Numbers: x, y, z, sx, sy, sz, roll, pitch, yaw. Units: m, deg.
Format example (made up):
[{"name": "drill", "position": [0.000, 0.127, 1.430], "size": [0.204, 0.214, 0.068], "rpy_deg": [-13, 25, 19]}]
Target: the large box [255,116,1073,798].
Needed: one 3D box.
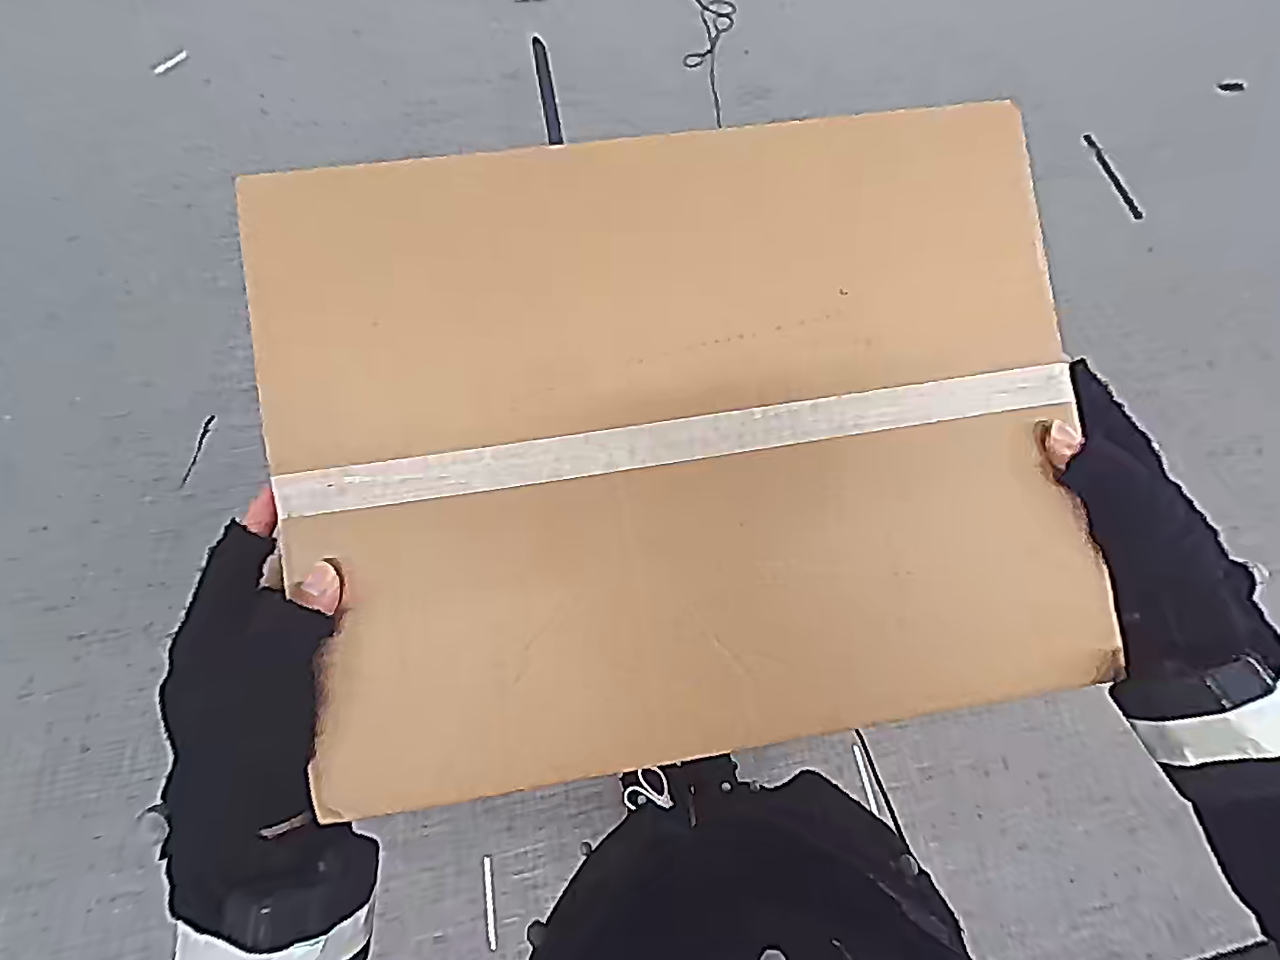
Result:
[{"name": "large box", "position": [0.012, -0.018, 0.434], "size": [0.408, 0.320, 0.320], "rpy_deg": [-9, 87, -4]}]
